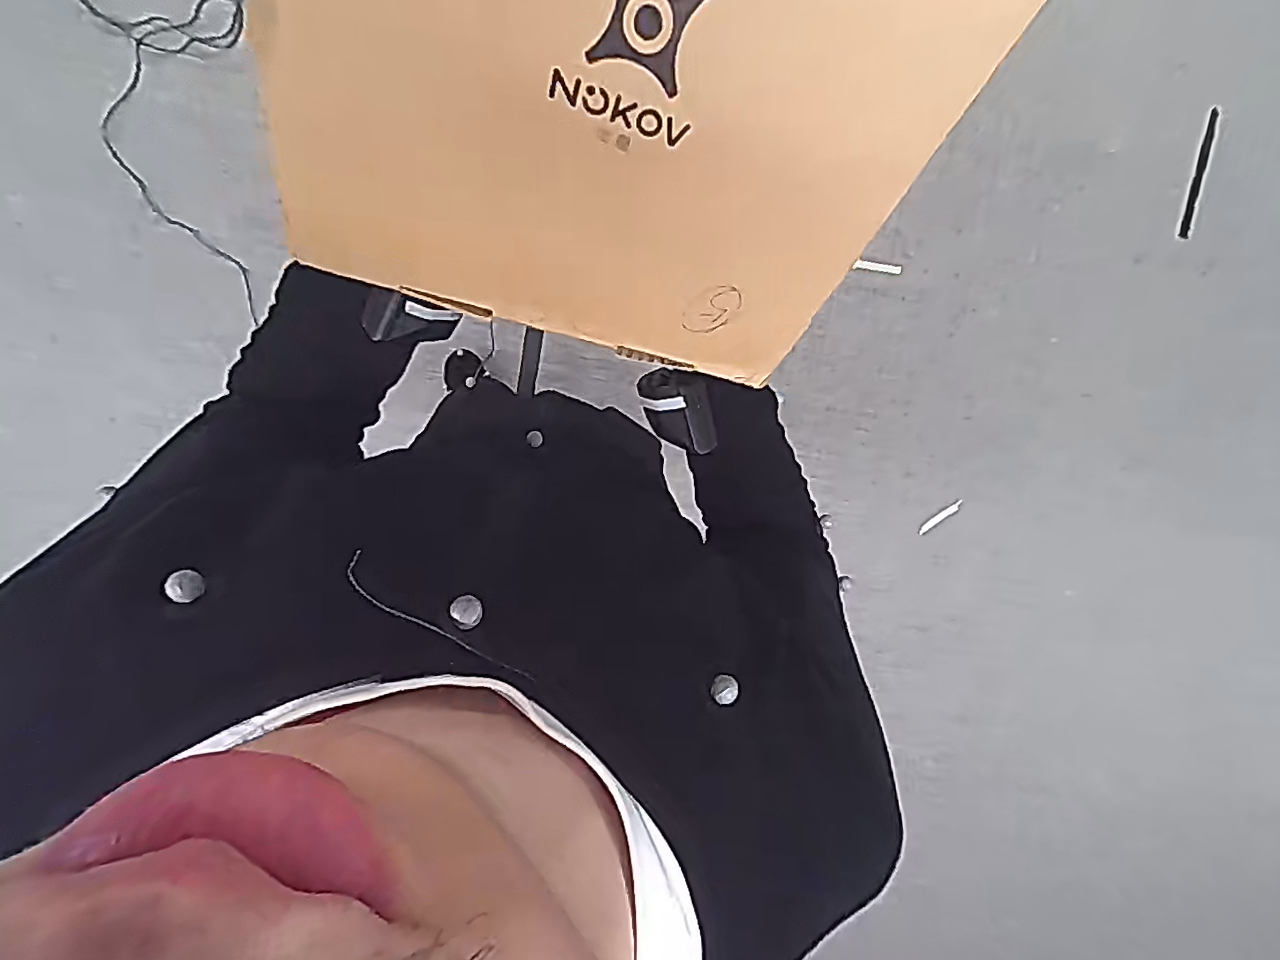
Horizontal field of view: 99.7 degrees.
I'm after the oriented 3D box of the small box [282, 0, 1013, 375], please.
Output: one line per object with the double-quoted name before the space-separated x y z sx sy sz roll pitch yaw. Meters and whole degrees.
"small box" -0.004 -0.171 0.186 0.168 0.176 0.179 11 140 -17
